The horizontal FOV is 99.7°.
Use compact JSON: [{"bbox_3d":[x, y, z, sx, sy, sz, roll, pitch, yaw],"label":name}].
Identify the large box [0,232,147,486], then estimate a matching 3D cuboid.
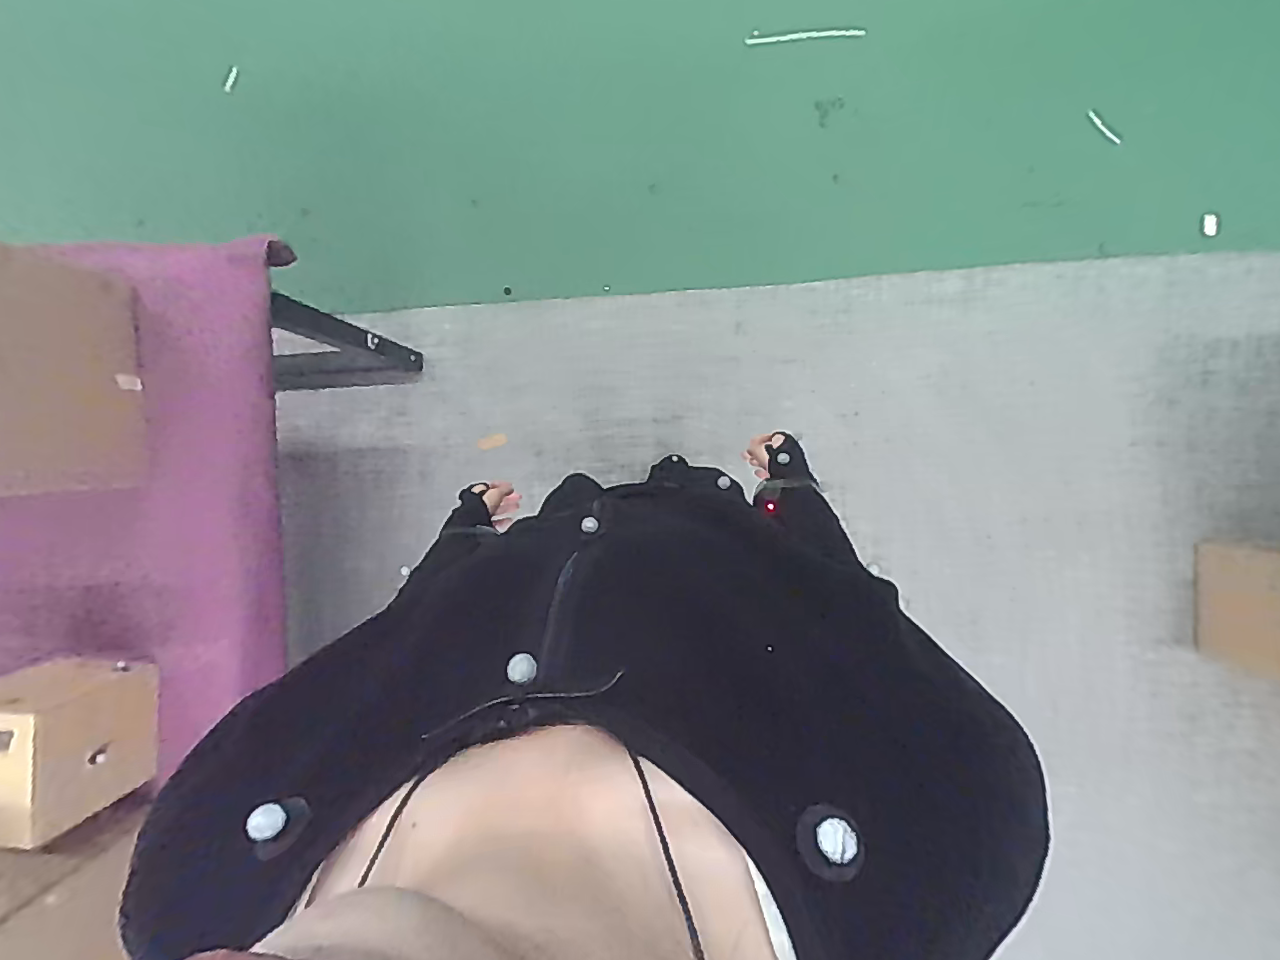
[{"bbox_3d":[-0.959,-0.140,0.674,0.408,0.320,0.320,-2,94,2],"label":"large box"}]
